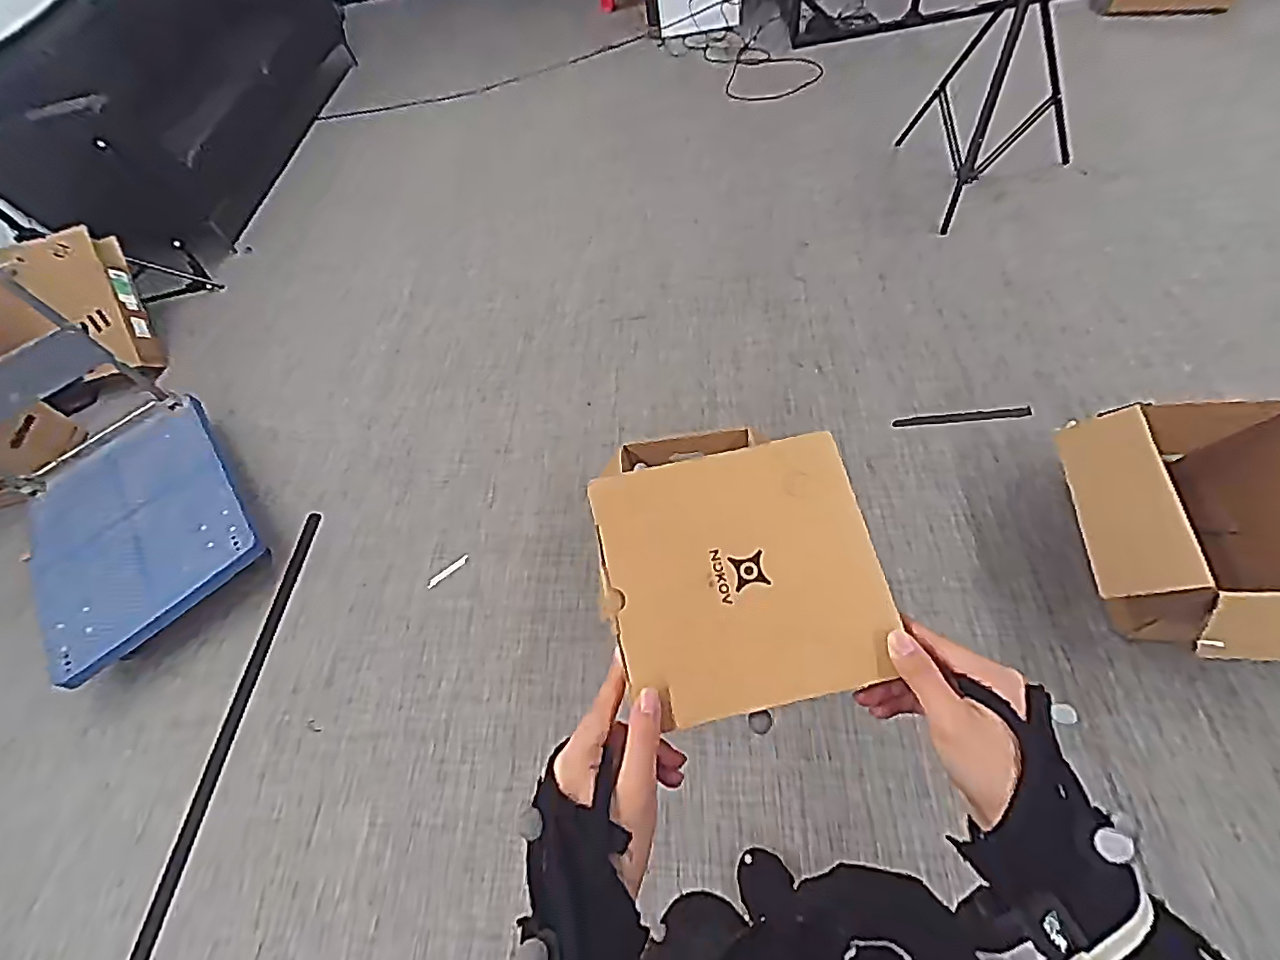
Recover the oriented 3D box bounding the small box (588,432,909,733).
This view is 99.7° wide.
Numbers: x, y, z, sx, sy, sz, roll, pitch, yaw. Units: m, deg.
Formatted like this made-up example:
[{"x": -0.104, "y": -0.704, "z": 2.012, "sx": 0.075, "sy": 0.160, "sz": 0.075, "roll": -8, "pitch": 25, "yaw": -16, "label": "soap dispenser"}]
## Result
[{"x": 0.067, "y": 0.083, "z": 0.424, "sx": 0.179, "sy": 0.176, "sz": 0.168, "roll": -13, "pitch": 71, "yaw": -1, "label": "small box"}]
